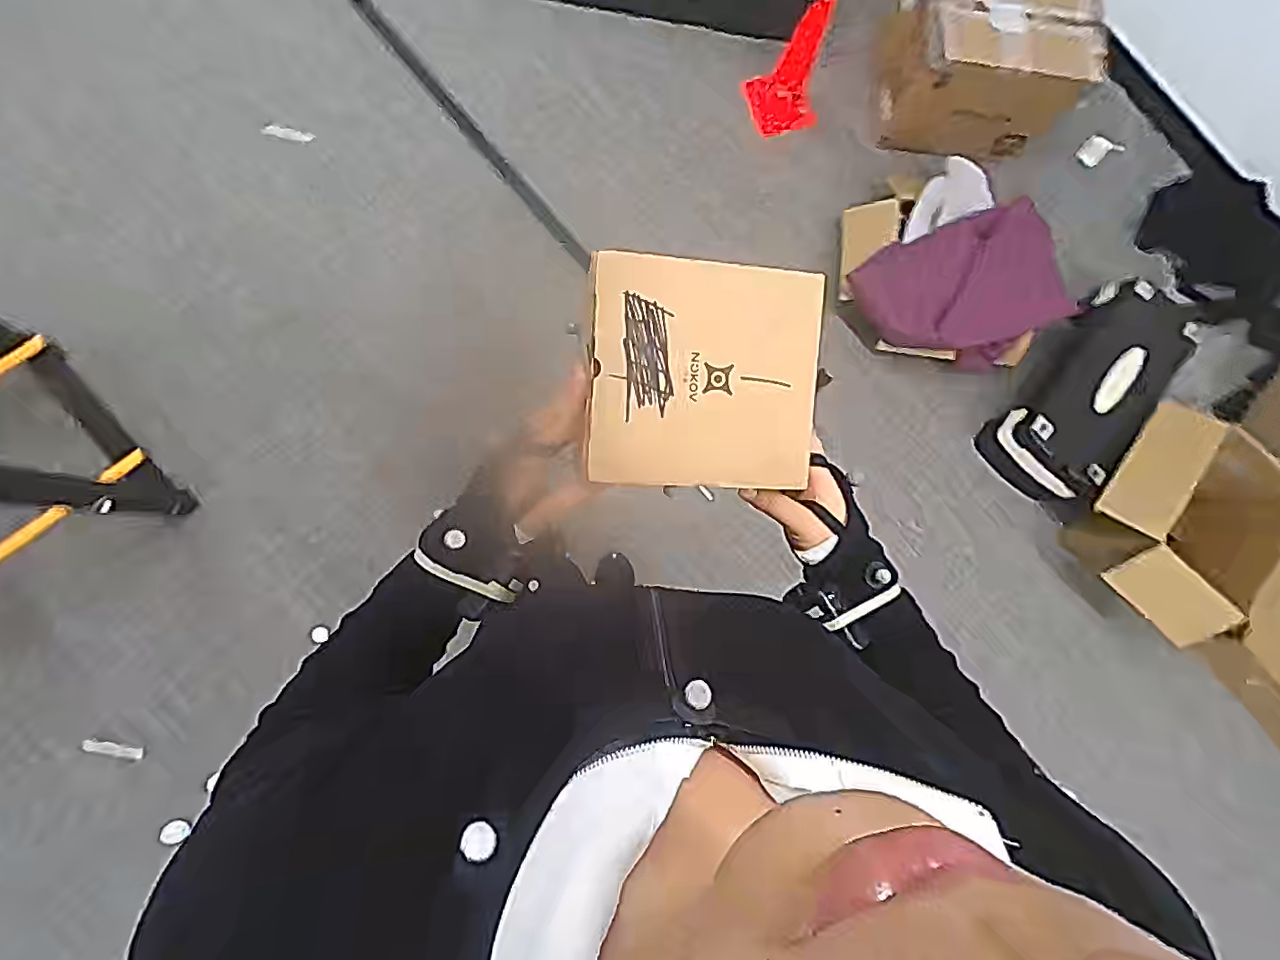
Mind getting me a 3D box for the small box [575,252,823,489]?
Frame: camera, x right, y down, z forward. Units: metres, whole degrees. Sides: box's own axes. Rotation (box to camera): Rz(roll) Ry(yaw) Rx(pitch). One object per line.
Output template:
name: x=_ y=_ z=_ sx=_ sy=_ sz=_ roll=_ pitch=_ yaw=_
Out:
small box: x=0.035 y=-0.084 z=0.477 sx=0.179 sy=0.176 sz=0.168 roll=2 pitch=96 yaw=-11
